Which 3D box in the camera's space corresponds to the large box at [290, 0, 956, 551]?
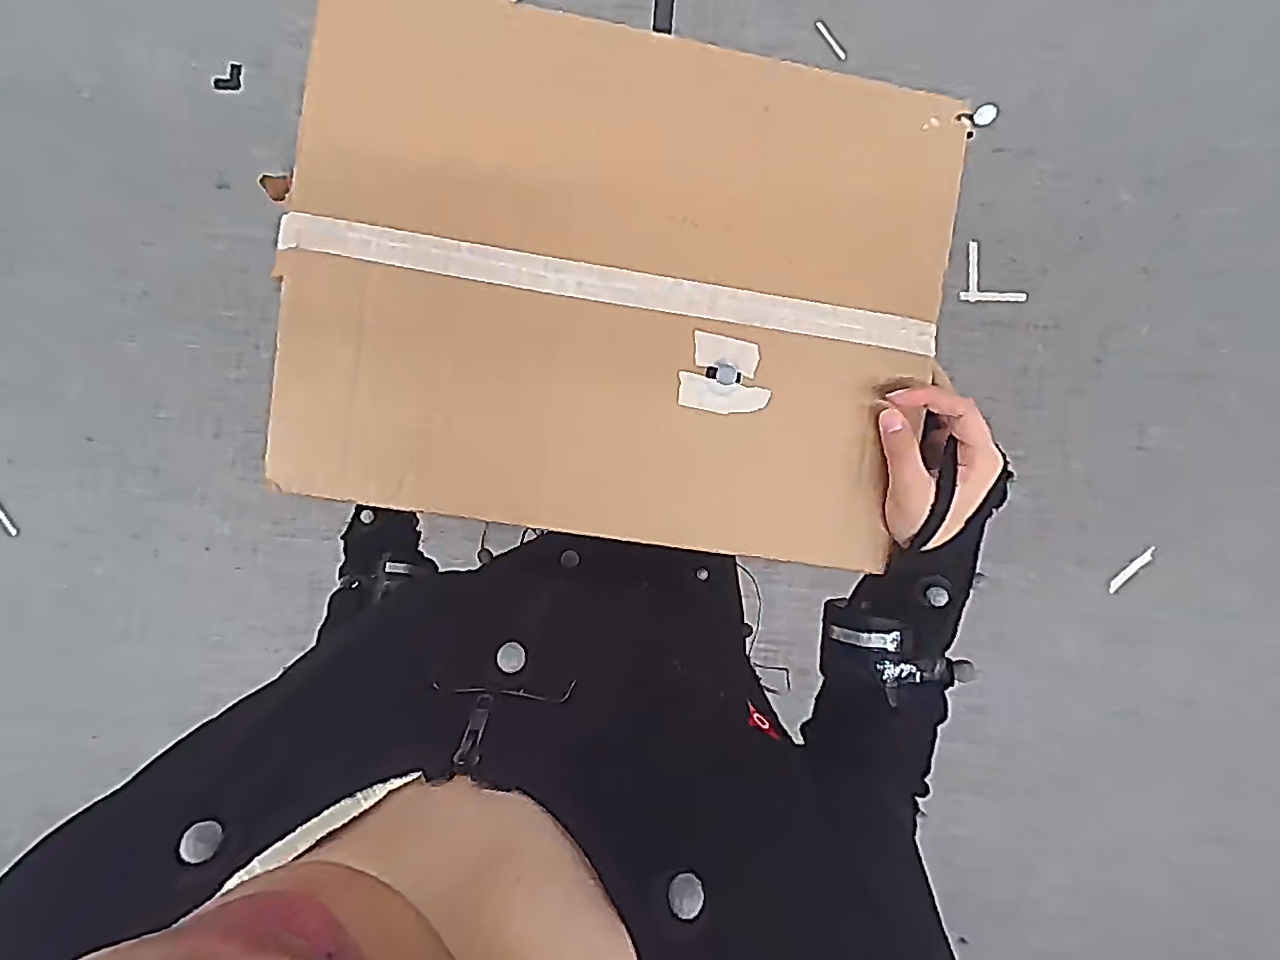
[{"bbox_3d":[-0.018,-0.133,0.494,0.408,0.320,0.320,8,93,-6],"label":"large box"}]
